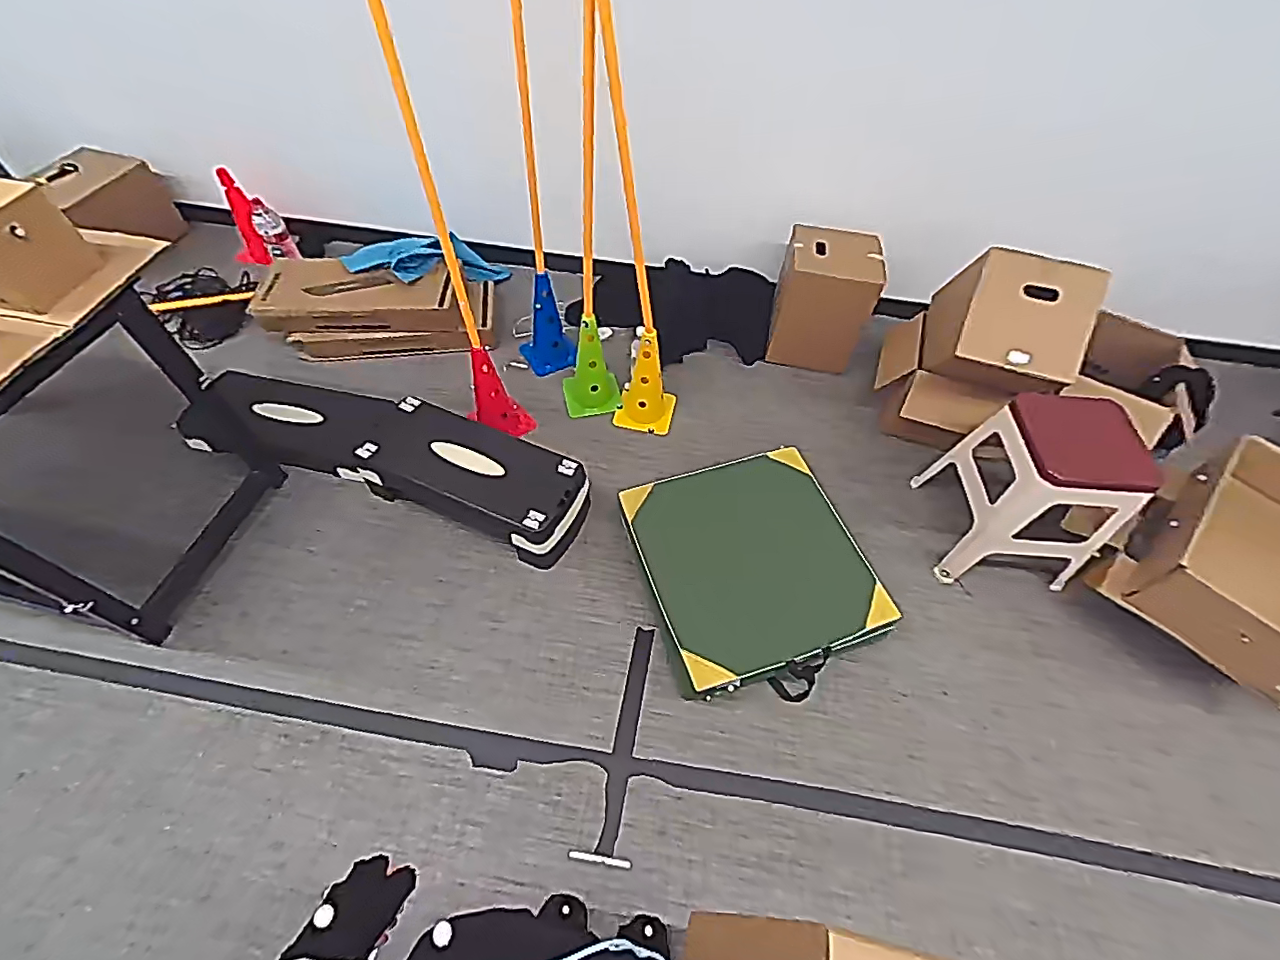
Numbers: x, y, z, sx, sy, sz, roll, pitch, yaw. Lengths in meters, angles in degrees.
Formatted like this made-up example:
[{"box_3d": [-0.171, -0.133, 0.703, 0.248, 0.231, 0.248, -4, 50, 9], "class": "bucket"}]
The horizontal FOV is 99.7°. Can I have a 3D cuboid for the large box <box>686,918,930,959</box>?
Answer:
[{"box_3d": [0.253, 0.771, 0.659, 0.320, 0.408, 0.320, 20, 51, -4], "class": "large box"}]
